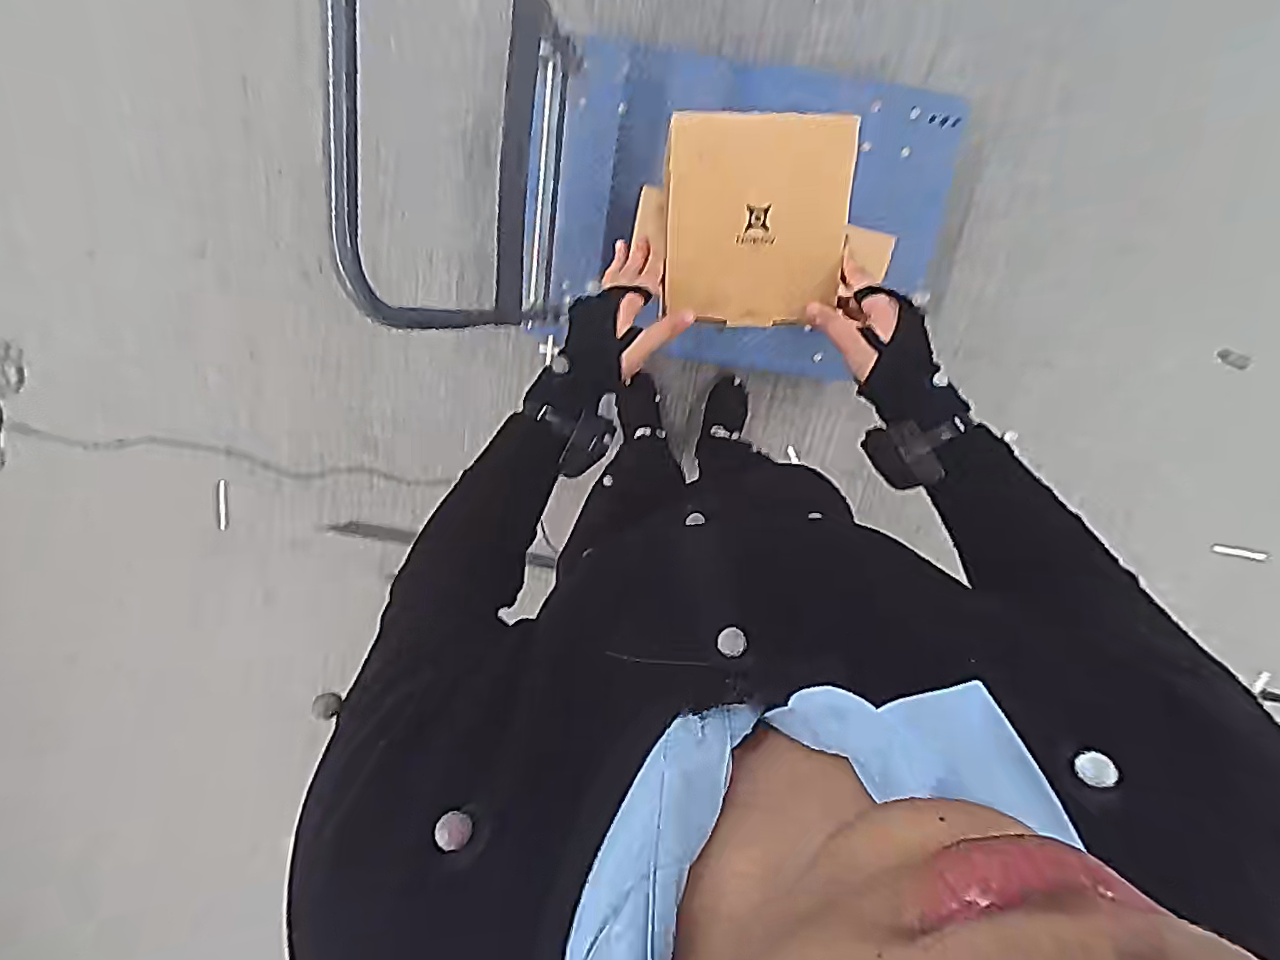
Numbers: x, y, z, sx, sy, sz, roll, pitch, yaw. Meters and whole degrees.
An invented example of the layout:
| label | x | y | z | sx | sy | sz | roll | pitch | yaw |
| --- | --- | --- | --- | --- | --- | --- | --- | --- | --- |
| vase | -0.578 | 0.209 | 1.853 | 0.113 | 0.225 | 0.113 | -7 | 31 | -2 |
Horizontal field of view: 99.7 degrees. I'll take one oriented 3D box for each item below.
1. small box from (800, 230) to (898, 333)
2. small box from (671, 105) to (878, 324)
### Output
| label | x | y | z | sx | sy | sz | roll | pitch | yaw |
| --- | --- | --- | --- | --- | --- | --- | --- | --- | --- |
| small box | 0.378 | -0.401 | 1.085 | 0.168 | 0.176 | 0.179 | 12 | 106 | -1 |
| small box | 0.119 | -0.255 | 0.556 | 0.168 | 0.176 | 0.179 | 1 | 108 | 1 |
